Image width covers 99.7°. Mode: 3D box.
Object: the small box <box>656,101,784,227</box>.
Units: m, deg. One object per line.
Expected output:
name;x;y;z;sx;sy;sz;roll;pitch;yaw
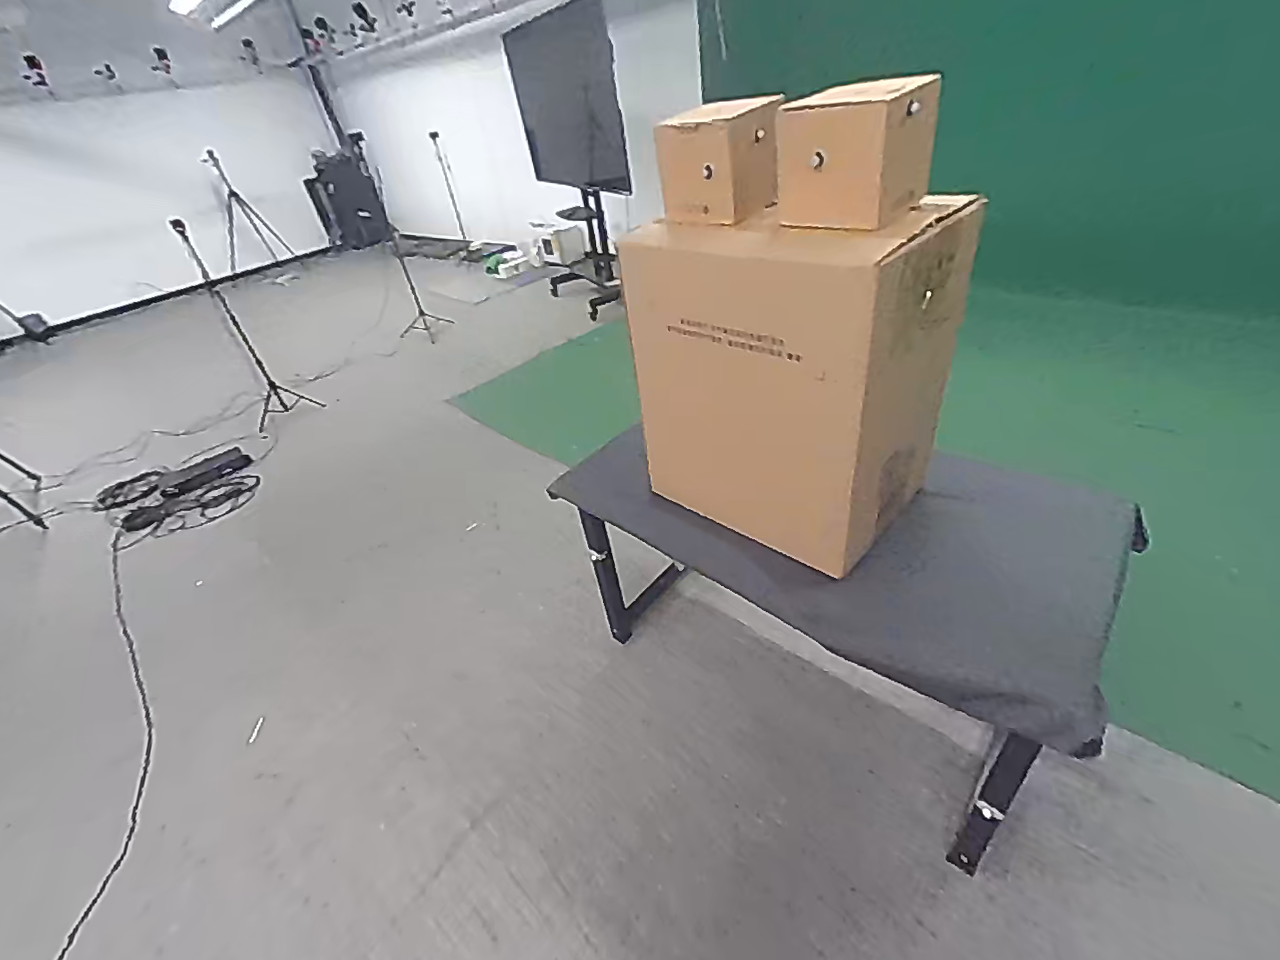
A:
small box;0.156;-0.588;1.015;0.168;0.176;0.179;26;52;37

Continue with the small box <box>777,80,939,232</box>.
small box;0.338;-0.504;0.855;0.179;0.176;0.168;25;53;40
